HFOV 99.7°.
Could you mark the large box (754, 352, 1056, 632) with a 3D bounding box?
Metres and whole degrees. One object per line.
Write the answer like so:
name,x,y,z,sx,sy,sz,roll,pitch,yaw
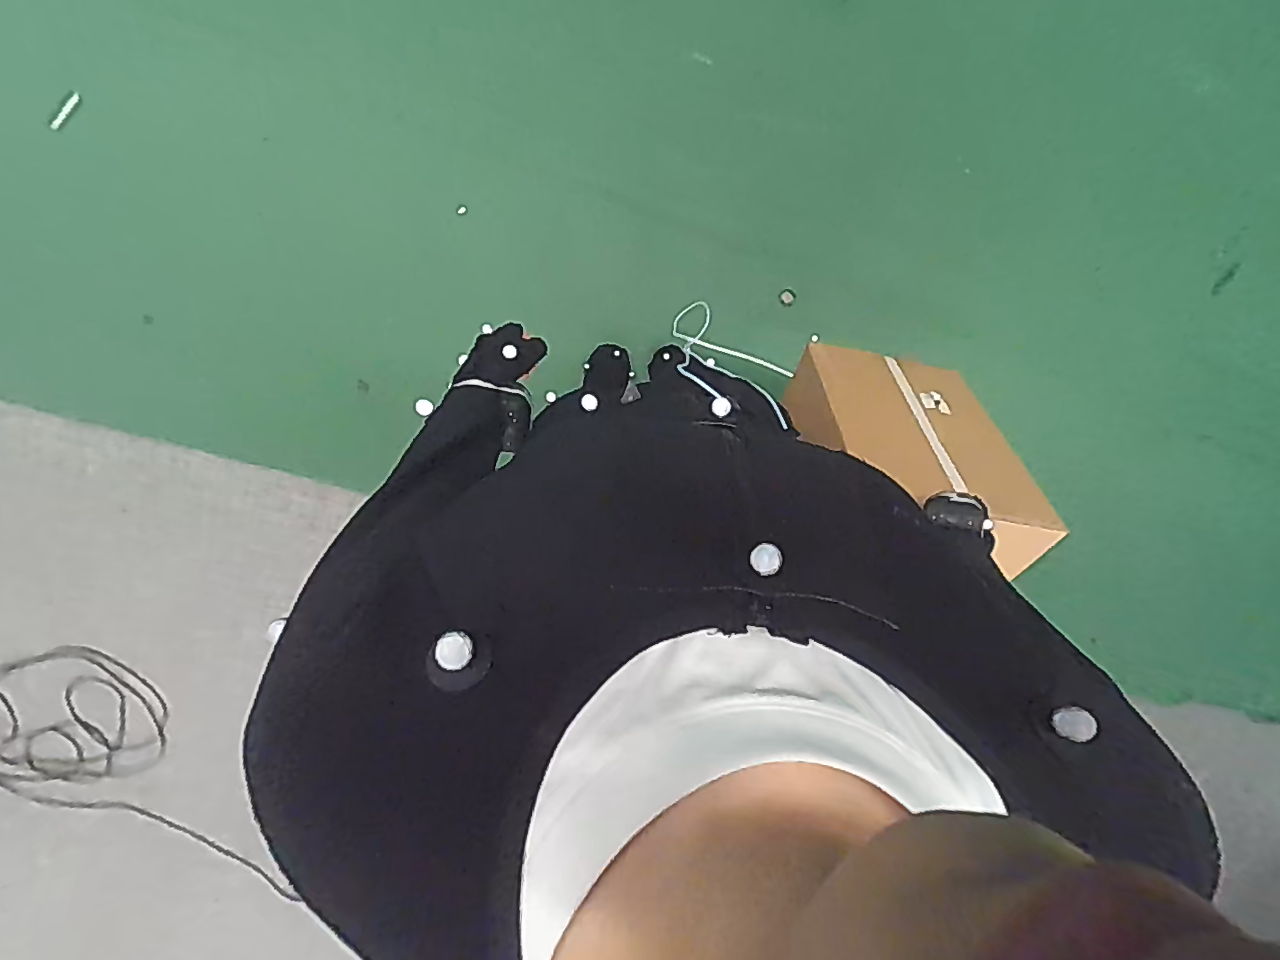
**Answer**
large box,0.428,0.020,1.001,0.320,0.408,0.320,10,133,-7
